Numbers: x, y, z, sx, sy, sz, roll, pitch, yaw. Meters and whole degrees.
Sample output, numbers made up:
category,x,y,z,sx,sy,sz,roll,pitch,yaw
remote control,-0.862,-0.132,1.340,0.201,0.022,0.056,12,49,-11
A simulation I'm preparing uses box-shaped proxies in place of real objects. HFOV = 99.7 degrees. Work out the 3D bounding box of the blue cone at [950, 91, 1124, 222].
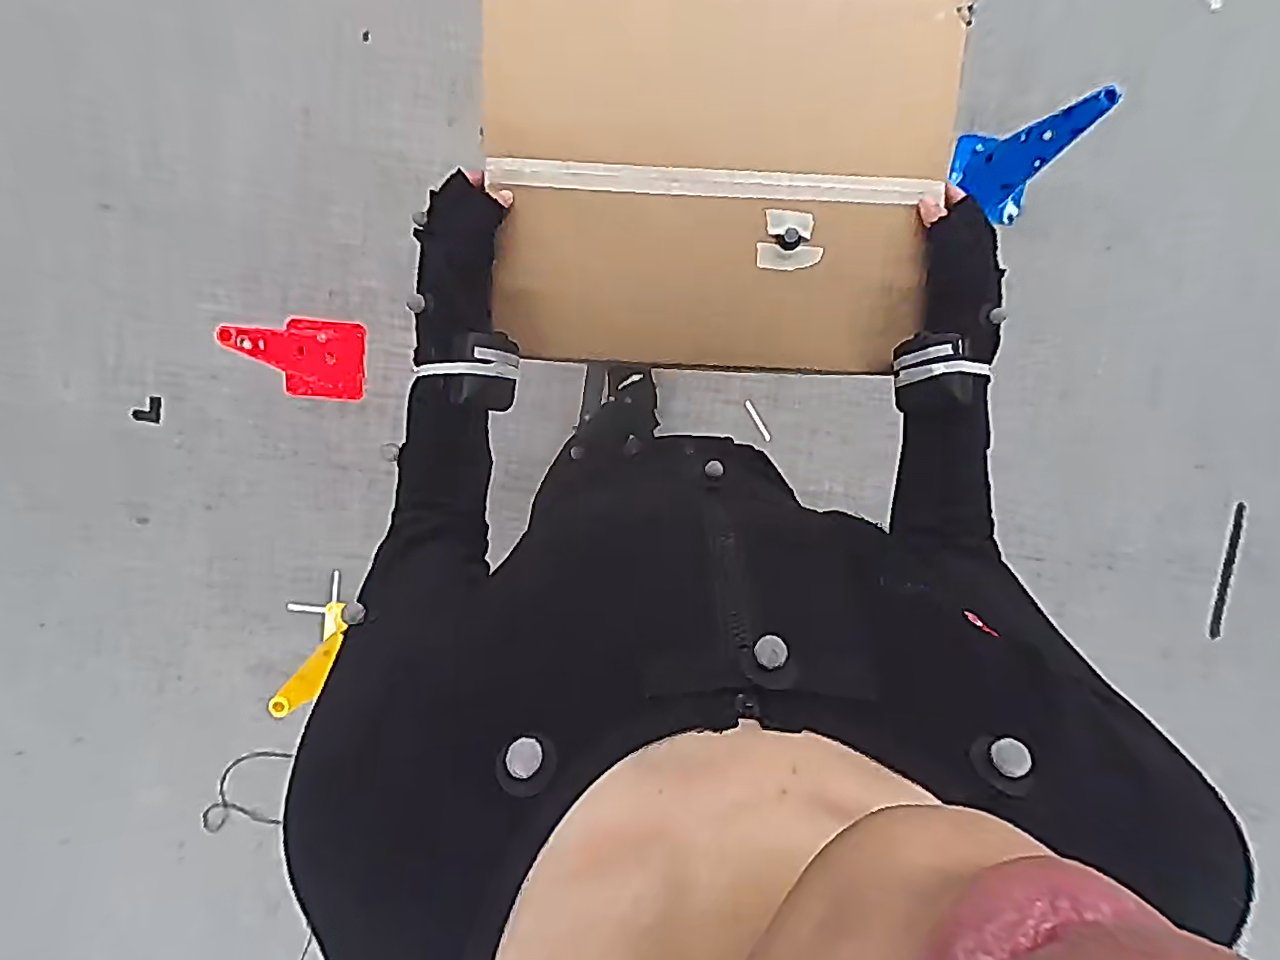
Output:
category,x,y,z,sx,sy,sz,roll,pitch,yaw
blue cone,0.918,-0.768,1.248,0.192,0.380,0.193,11,95,-4

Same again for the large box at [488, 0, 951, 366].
category,x,y,z,sx,sy,sz,roll,pitch,yaw
large box,0.060,-0.298,0.629,0.408,0.320,0.320,2,101,-2

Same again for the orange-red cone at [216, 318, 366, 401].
category,x,y,z,sx,sy,sz,roll,pitch,yaw
orange-red cone,-0.807,-0.291,1.222,0.198,0.360,0.199,6,96,-1
